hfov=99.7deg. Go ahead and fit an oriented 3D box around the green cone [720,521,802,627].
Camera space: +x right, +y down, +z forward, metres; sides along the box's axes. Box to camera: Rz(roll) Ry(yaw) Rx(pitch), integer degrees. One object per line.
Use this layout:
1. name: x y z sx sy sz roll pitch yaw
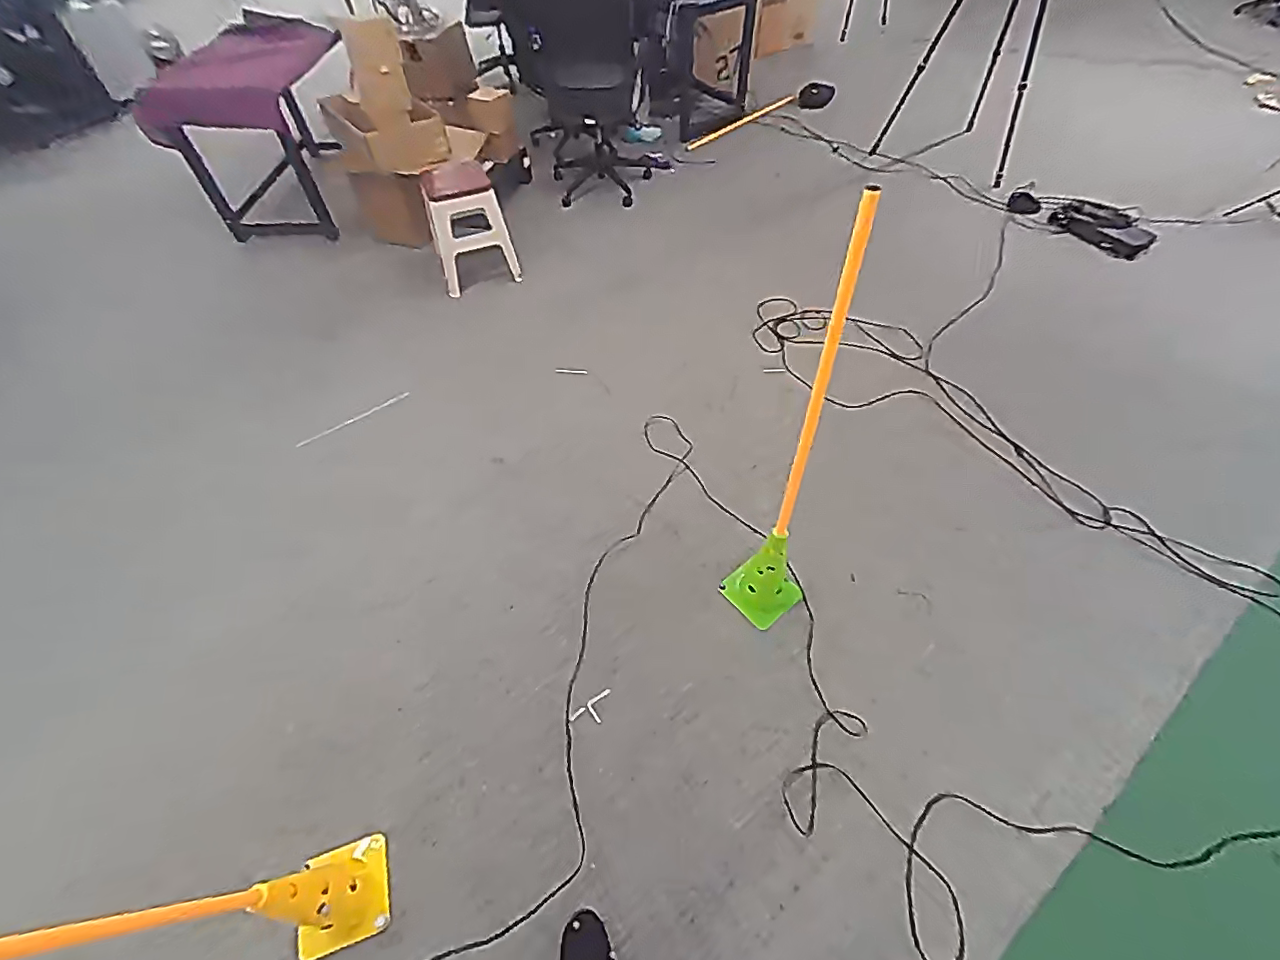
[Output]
1. green cone: 0.381 0.239 1.573 0.202 0.368 0.200 -34 60 -23
